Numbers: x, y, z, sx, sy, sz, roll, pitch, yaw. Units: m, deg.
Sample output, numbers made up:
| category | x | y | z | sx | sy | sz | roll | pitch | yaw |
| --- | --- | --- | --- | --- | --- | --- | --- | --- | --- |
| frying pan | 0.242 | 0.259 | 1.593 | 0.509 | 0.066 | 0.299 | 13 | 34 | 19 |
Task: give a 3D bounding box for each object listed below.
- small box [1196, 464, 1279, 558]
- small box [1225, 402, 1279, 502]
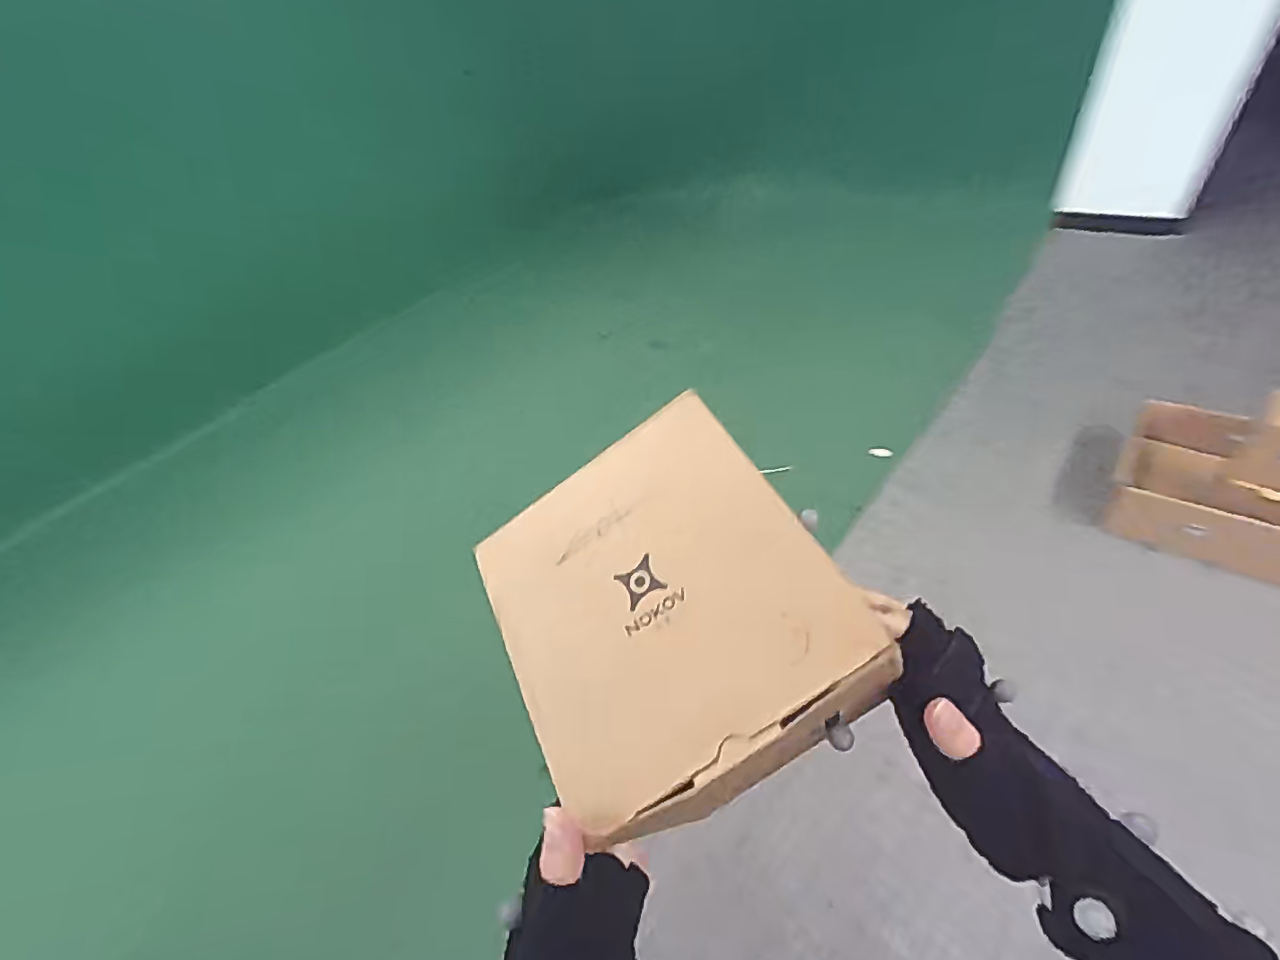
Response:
| category | x | y | z | sx | sy | sz | roll | pitch | yaw |
| --- | --- | --- | --- | --- | --- | --- | --- | --- | --- |
| small box | 1.569 | 0.065 | 1.368 | 0.168 | 0.176 | 0.179 | 30 | 60 | 35 |
| small box | 1.543 | -0.055 | 1.259 | 0.168 | 0.176 | 0.179 | -39 | 48 | -24 |
